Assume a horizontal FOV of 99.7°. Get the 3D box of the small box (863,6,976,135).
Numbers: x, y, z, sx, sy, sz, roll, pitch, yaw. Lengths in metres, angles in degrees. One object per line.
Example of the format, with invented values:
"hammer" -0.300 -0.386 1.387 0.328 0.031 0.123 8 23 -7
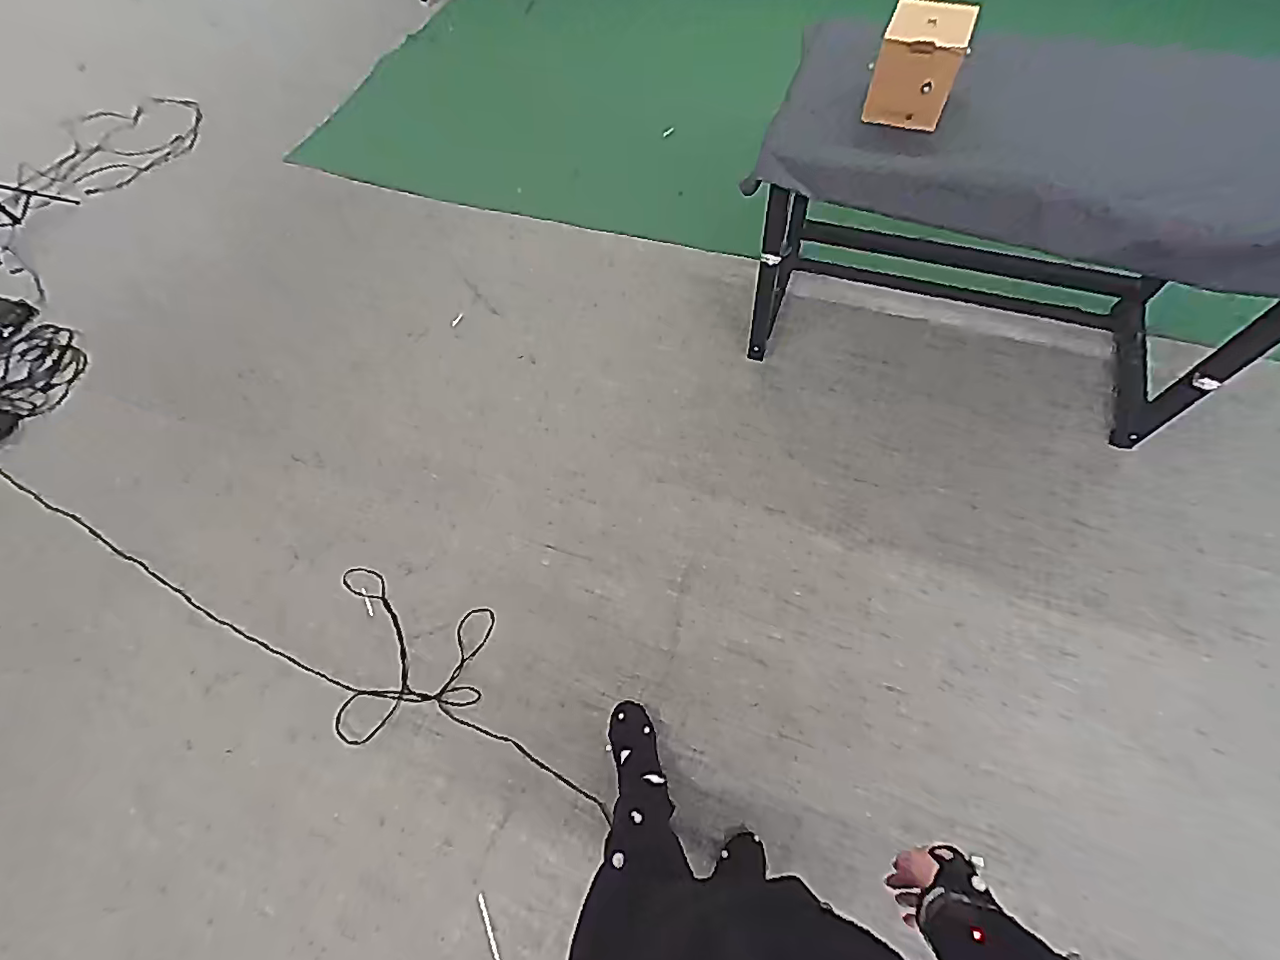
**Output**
"small box" 0.620 -0.915 1.216 0.168 0.176 0.179 20 65 12
